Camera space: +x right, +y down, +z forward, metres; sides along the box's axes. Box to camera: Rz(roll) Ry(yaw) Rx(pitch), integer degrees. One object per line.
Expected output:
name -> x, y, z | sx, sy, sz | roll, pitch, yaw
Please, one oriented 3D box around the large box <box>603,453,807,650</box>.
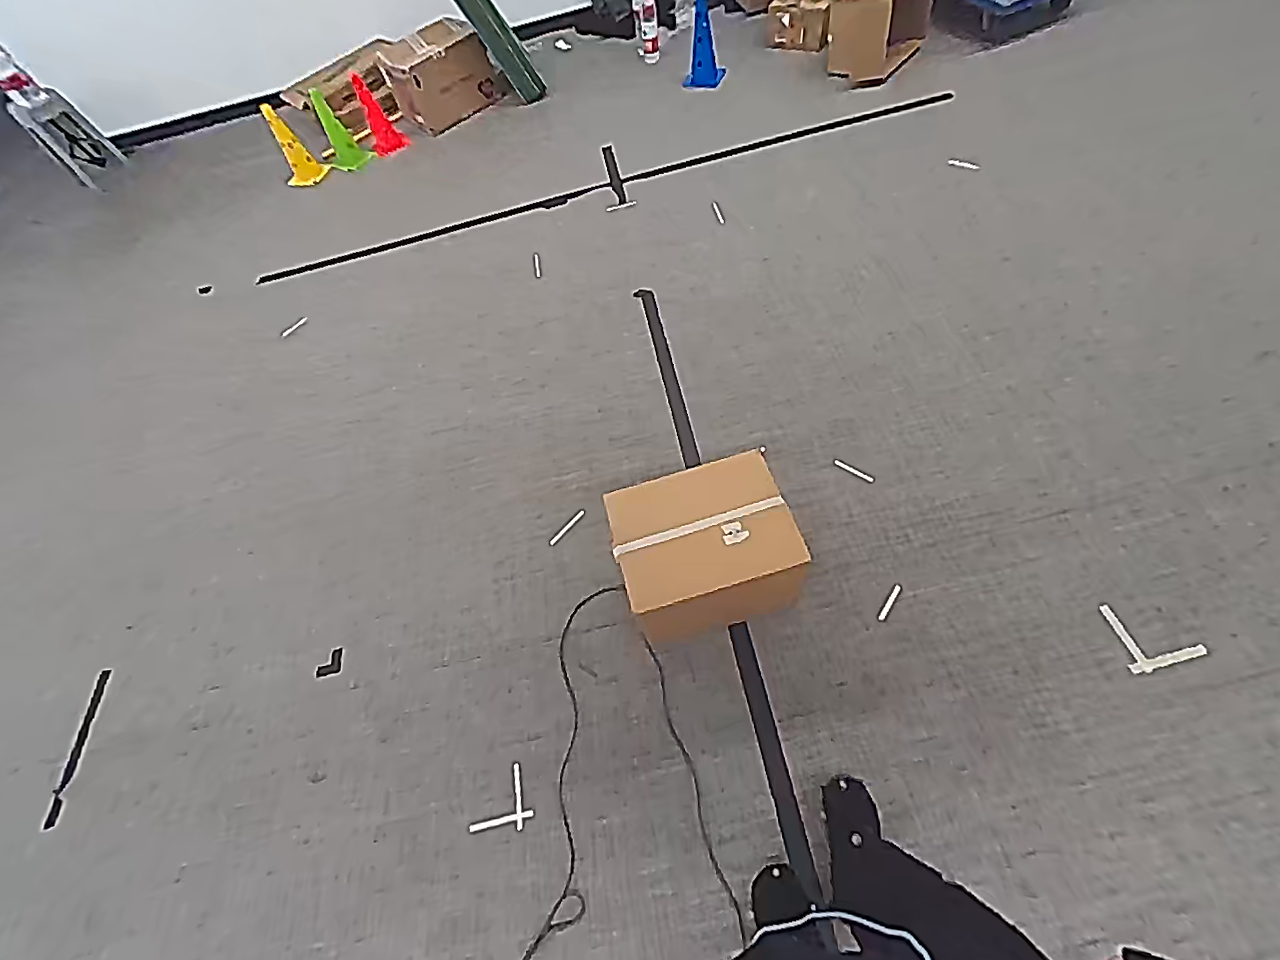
large box -> 0.155, 0.189, 1.364 | 0.408, 0.320, 0.320 | -17, 59, -1
